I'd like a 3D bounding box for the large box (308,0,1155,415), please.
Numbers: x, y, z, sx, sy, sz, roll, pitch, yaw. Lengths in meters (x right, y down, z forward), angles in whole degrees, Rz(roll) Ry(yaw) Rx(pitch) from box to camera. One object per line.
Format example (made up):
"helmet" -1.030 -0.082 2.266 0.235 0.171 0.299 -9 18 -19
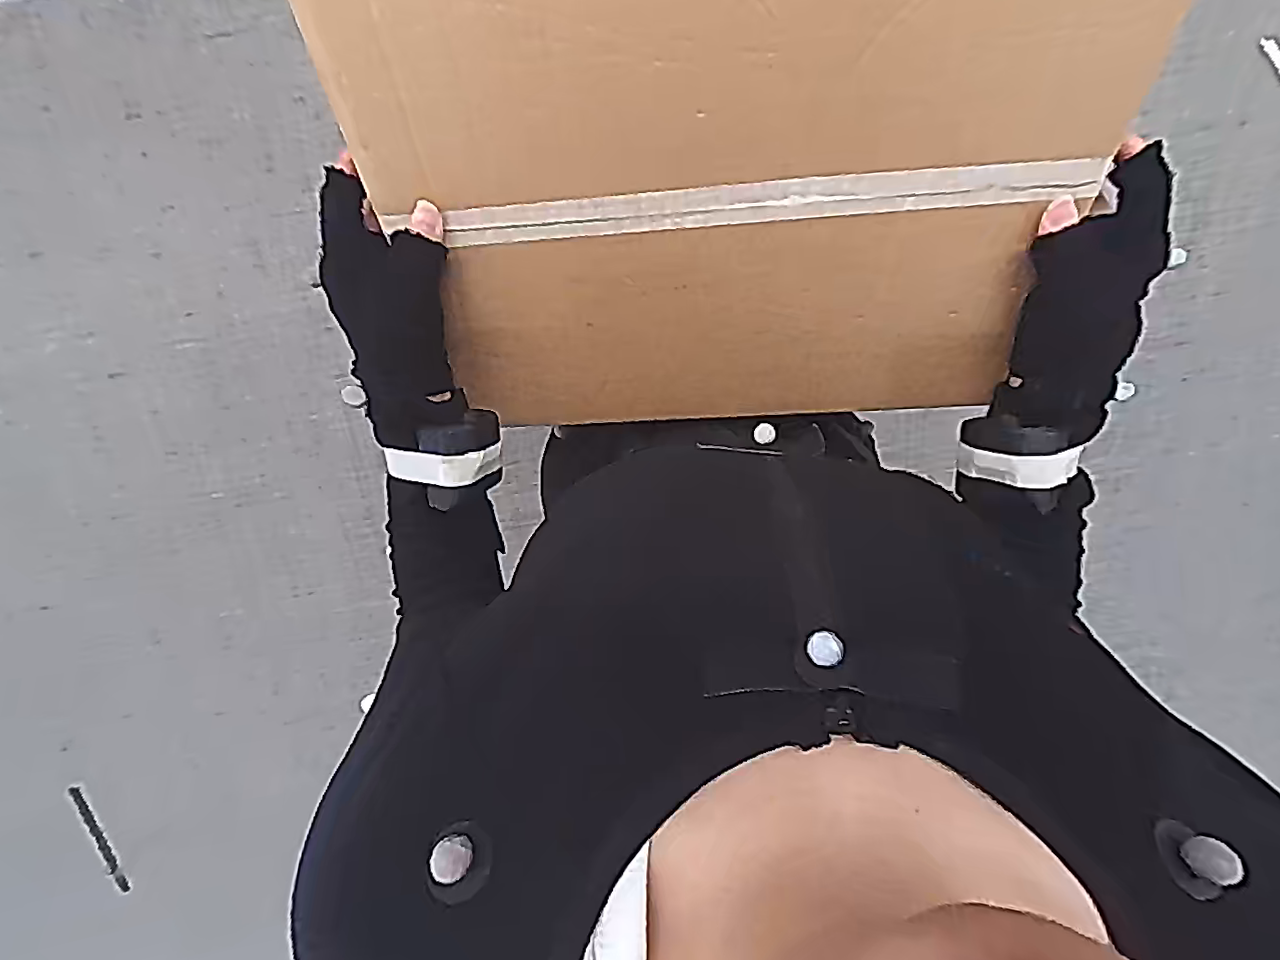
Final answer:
"large box" 0.048 -0.274 0.420 0.408 0.320 0.320 -2 137 4
